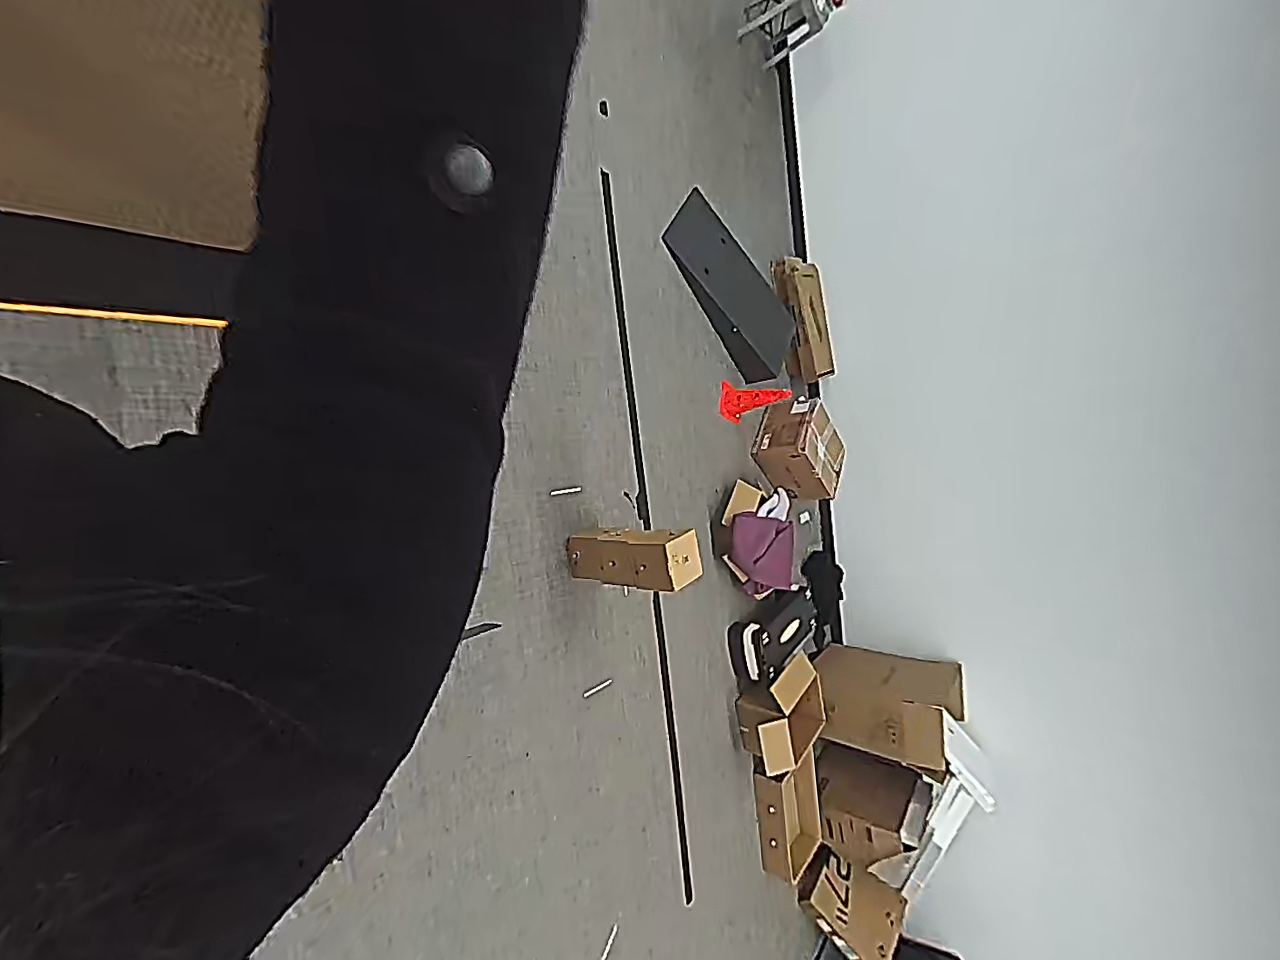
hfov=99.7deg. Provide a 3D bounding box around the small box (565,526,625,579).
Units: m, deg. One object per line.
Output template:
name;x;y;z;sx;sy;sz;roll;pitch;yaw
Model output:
small box;-0.164;0.274;2.083;0.179;0.176;0.168;-13;97;-48

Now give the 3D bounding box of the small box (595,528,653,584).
small box;-0.050;0.273;1.964;0.179;0.176;0.168;-12;96;-49

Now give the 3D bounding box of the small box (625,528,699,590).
small box;0.075;0.263;1.855;0.179;0.176;0.168;-20;101;-48
